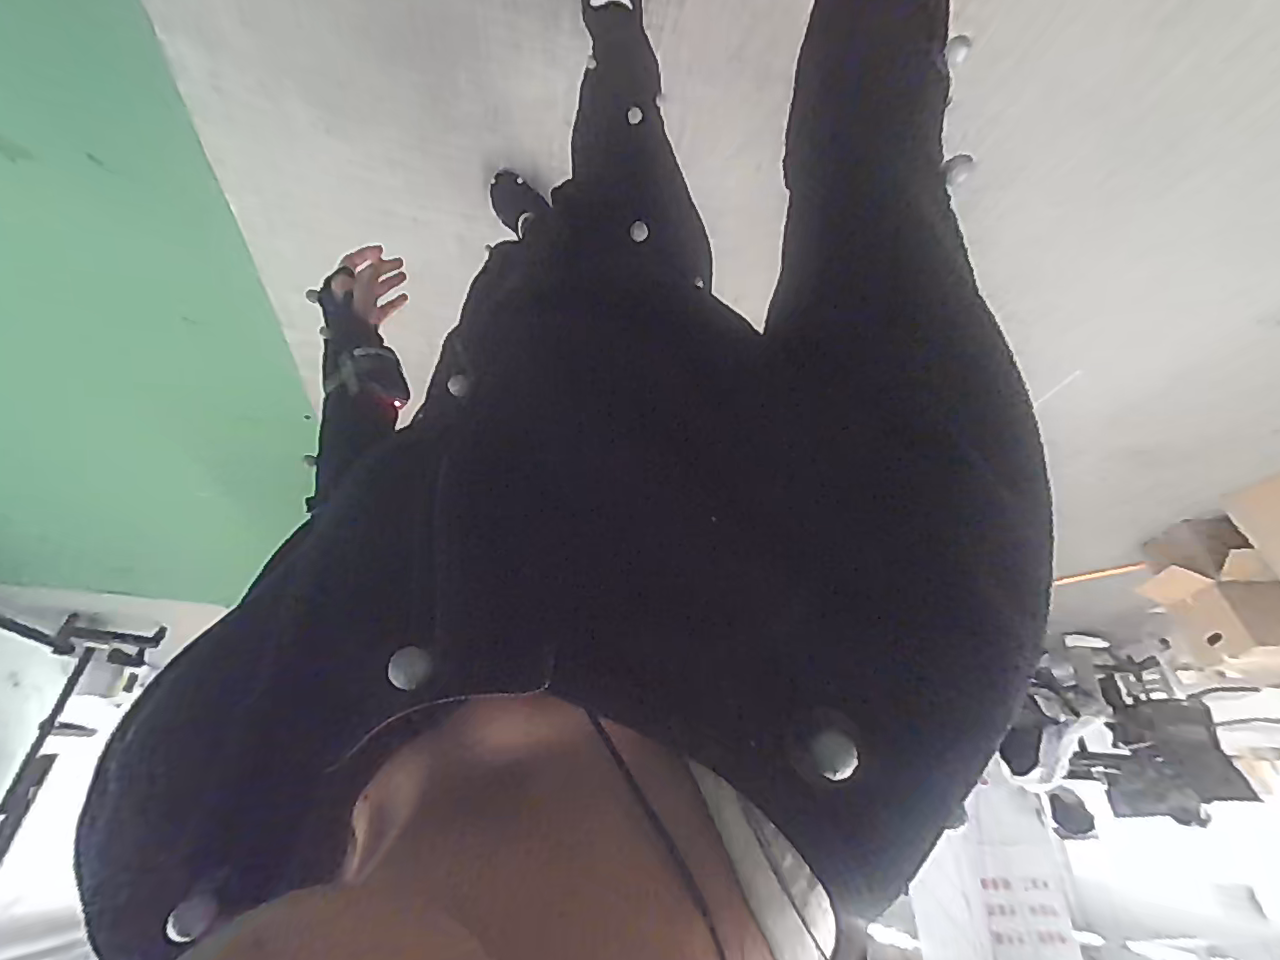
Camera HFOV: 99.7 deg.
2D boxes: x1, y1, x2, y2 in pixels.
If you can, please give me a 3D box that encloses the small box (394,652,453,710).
[{"bbox_3d":[-0.823,0.772,2.069,0.168,0.176,0.179,7,146,-9],"label":"small box"}]
